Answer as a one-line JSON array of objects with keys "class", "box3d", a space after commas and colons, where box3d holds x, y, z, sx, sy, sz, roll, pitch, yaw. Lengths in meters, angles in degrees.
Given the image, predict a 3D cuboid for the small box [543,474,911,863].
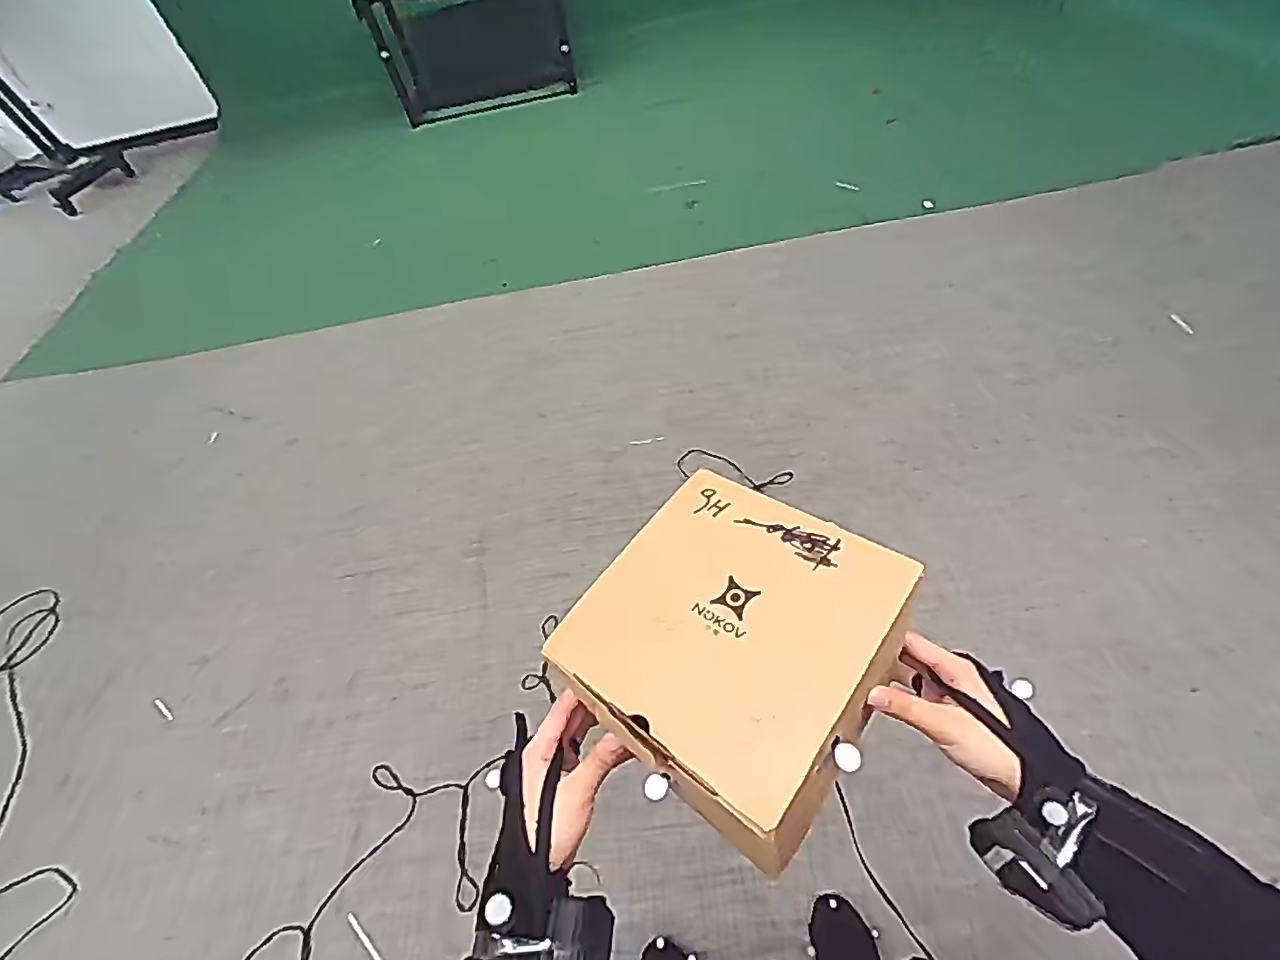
[{"class": "small box", "box3d": [0.068, 0.134, 0.390, 0.168, 0.176, 0.179, 27, 62, 34]}]
